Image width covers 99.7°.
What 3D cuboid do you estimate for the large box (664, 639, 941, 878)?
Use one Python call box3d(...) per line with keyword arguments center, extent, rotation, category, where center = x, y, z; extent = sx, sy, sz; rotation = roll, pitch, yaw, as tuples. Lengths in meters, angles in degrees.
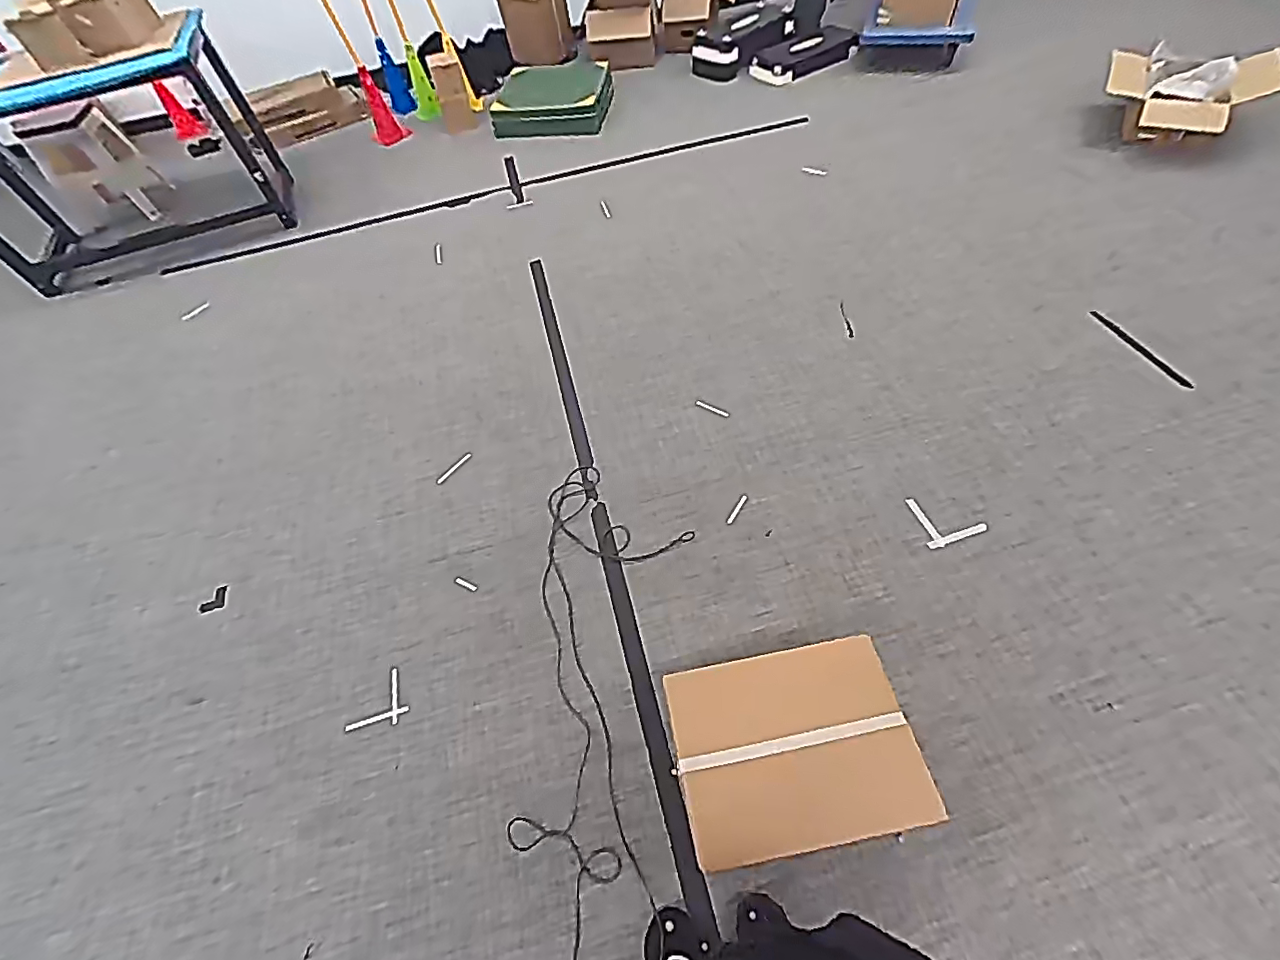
box3d(center=(0.279, 0.549, 1.064), extent=(0.408, 0.320, 0.320), rotation=(-11, 54, -2), category="large box")
